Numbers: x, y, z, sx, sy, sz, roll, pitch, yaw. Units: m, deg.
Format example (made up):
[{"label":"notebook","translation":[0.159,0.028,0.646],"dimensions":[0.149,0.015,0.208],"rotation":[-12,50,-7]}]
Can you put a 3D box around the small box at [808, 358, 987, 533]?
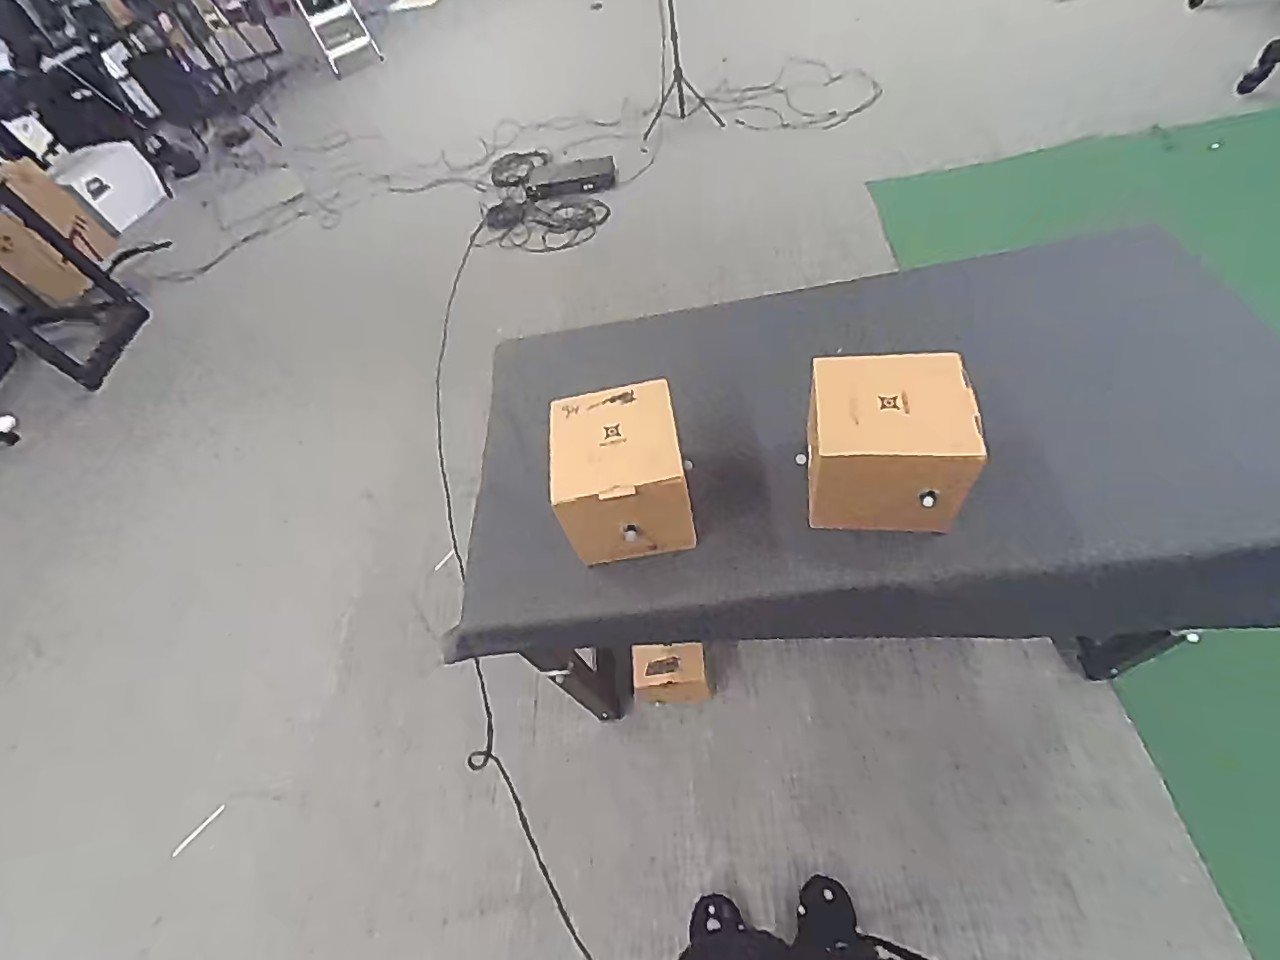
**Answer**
[{"label":"small box","translation":[0.320,-0.040,0.714],"dimensions":[0.179,0.176,0.168],"rotation":[0,55,14]}]

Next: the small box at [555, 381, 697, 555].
[{"label":"small box","translation":[-0.016,-0.007,0.761],"dimensions":[0.168,0.176,0.179],"rotation":[-10,54,5]}]
